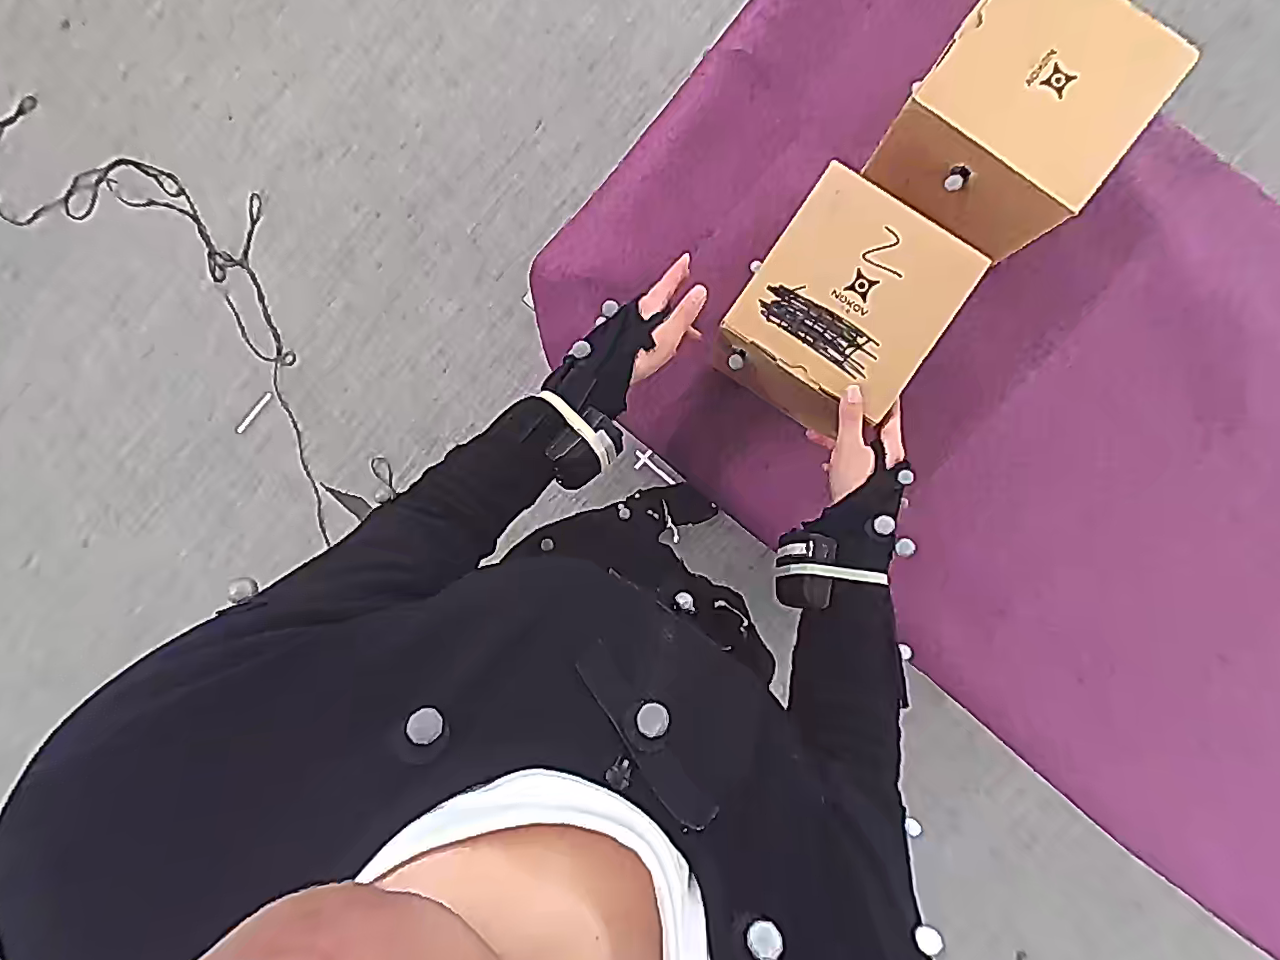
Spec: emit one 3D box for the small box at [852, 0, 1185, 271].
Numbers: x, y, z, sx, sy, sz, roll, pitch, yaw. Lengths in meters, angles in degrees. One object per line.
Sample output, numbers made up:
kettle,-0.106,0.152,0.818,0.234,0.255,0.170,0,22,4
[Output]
small box,0.355,-0.340,0.547,0.179,0.176,0.168,37,93,2
